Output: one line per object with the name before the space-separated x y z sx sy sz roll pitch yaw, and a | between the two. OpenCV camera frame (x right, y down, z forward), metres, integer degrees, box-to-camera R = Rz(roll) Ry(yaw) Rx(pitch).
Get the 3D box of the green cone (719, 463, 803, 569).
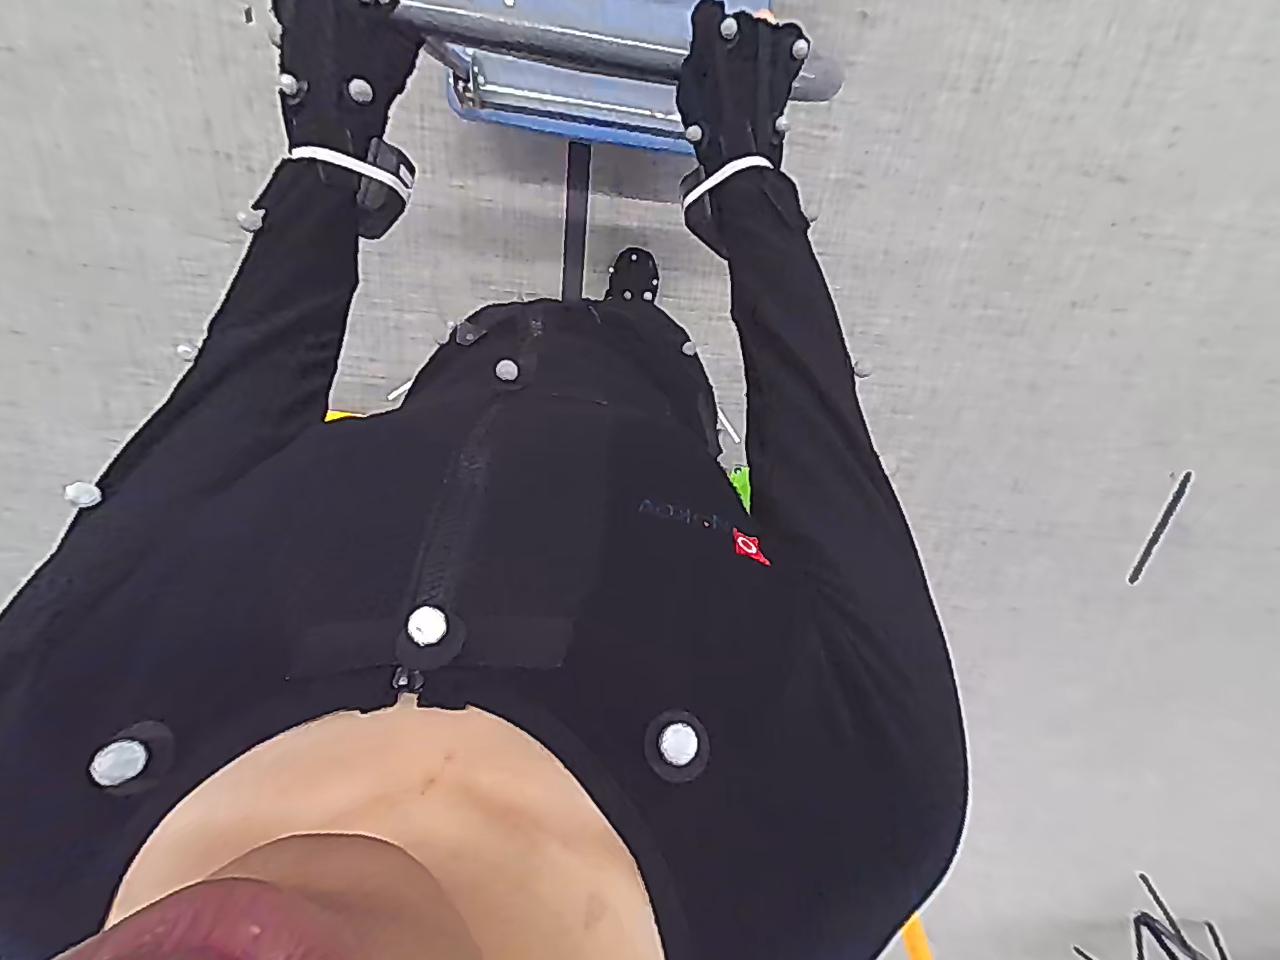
green cone | 0.353 0.122 1.435 0.202 0.368 0.200 8 114 -6
